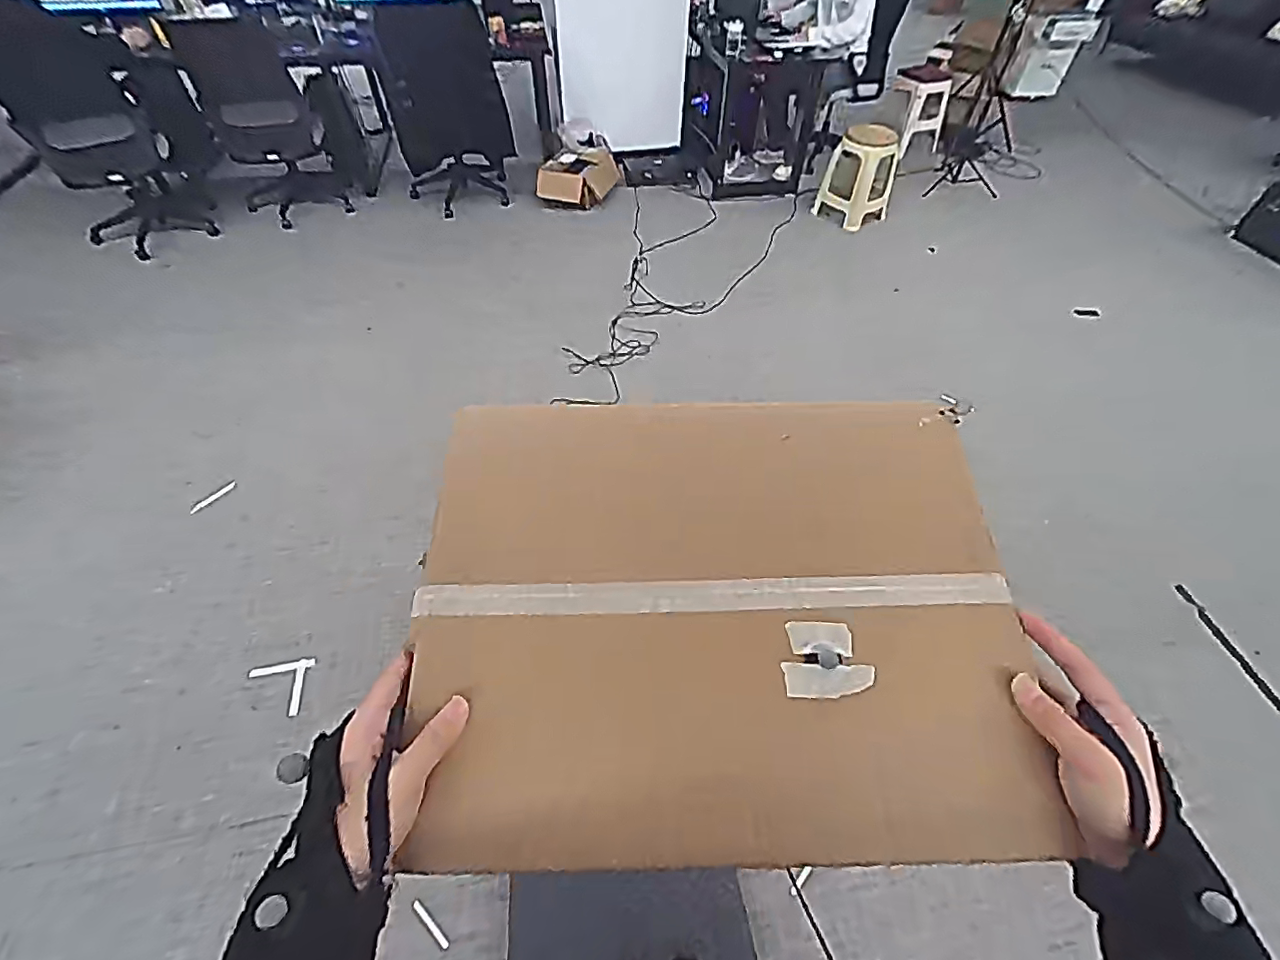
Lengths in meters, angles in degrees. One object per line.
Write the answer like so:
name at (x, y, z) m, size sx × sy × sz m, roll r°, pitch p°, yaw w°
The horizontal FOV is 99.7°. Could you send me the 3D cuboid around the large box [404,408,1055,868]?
large box at (0.048, 0.146, 0.520) m, size 0.408 × 0.320 × 0.320 m, roll -1°, pitch 66°, yaw -1°
